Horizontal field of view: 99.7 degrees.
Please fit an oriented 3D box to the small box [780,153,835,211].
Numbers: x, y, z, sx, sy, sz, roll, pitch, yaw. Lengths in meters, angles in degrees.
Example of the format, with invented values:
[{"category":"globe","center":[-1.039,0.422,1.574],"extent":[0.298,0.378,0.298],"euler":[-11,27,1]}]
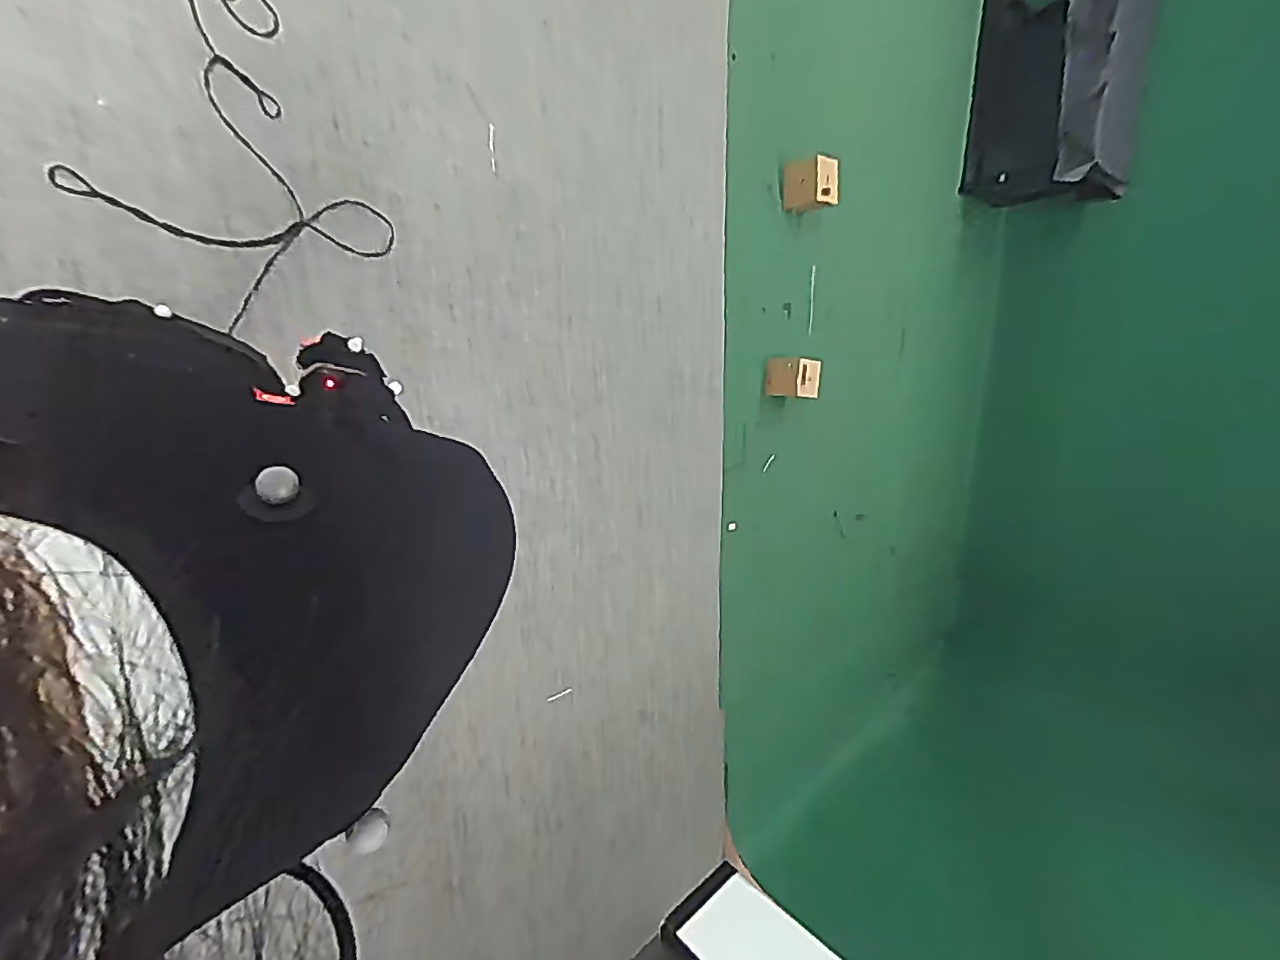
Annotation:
[{"category":"small box","center":[0.722,-1.281,2.341],"extent":[0.168,0.176,0.179],"euler":[-15,107,-40]}]
